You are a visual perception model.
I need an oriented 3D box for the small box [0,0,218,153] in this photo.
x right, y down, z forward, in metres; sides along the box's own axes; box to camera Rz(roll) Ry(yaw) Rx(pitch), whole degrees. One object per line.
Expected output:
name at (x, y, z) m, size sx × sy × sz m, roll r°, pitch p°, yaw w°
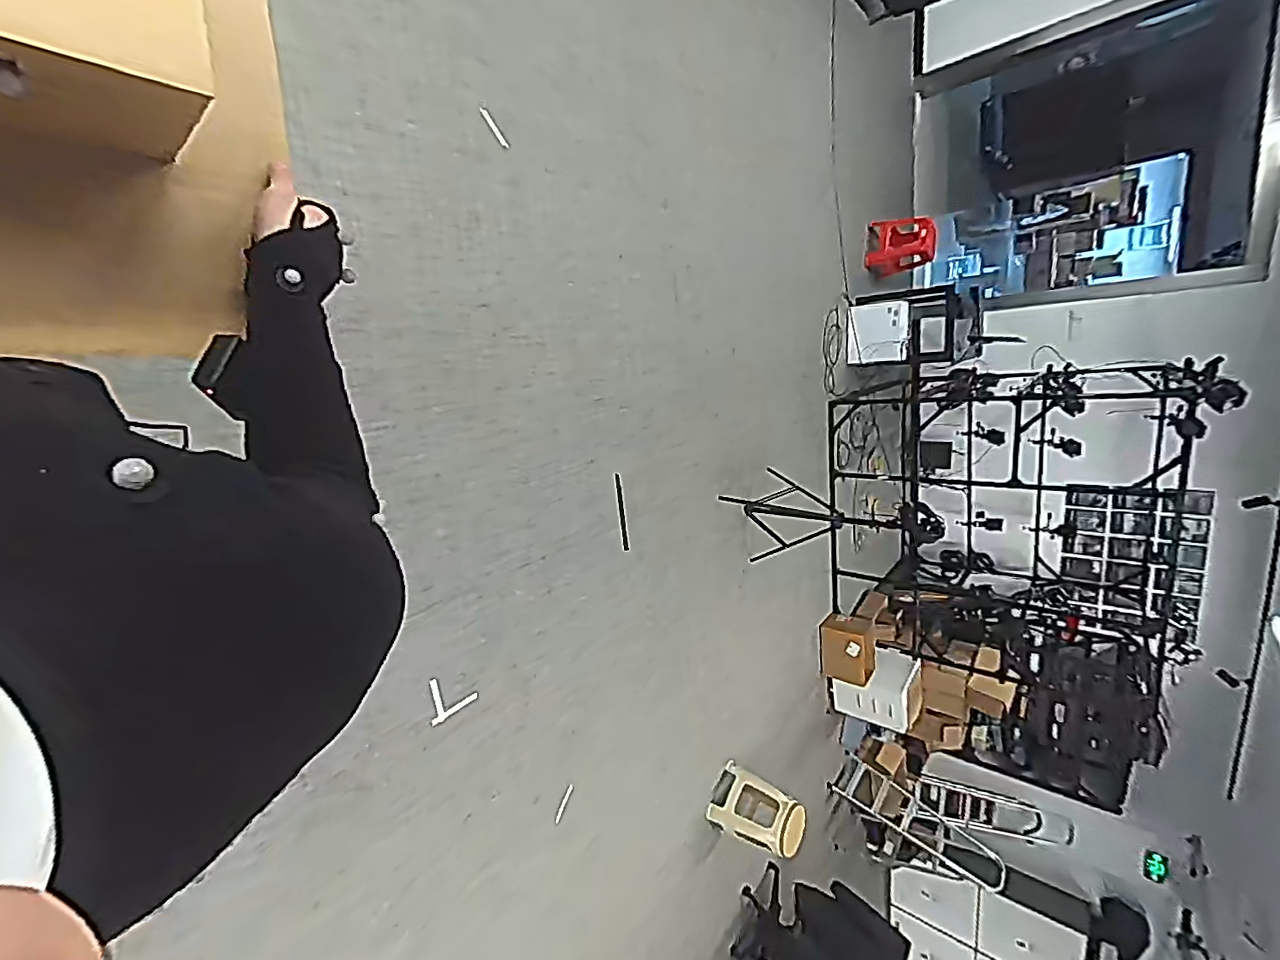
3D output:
small box at (-0.409, -0.336, 0.350) m, size 0.179 × 0.176 × 0.168 m, roll -13°, pitch 108°, yaw -46°
